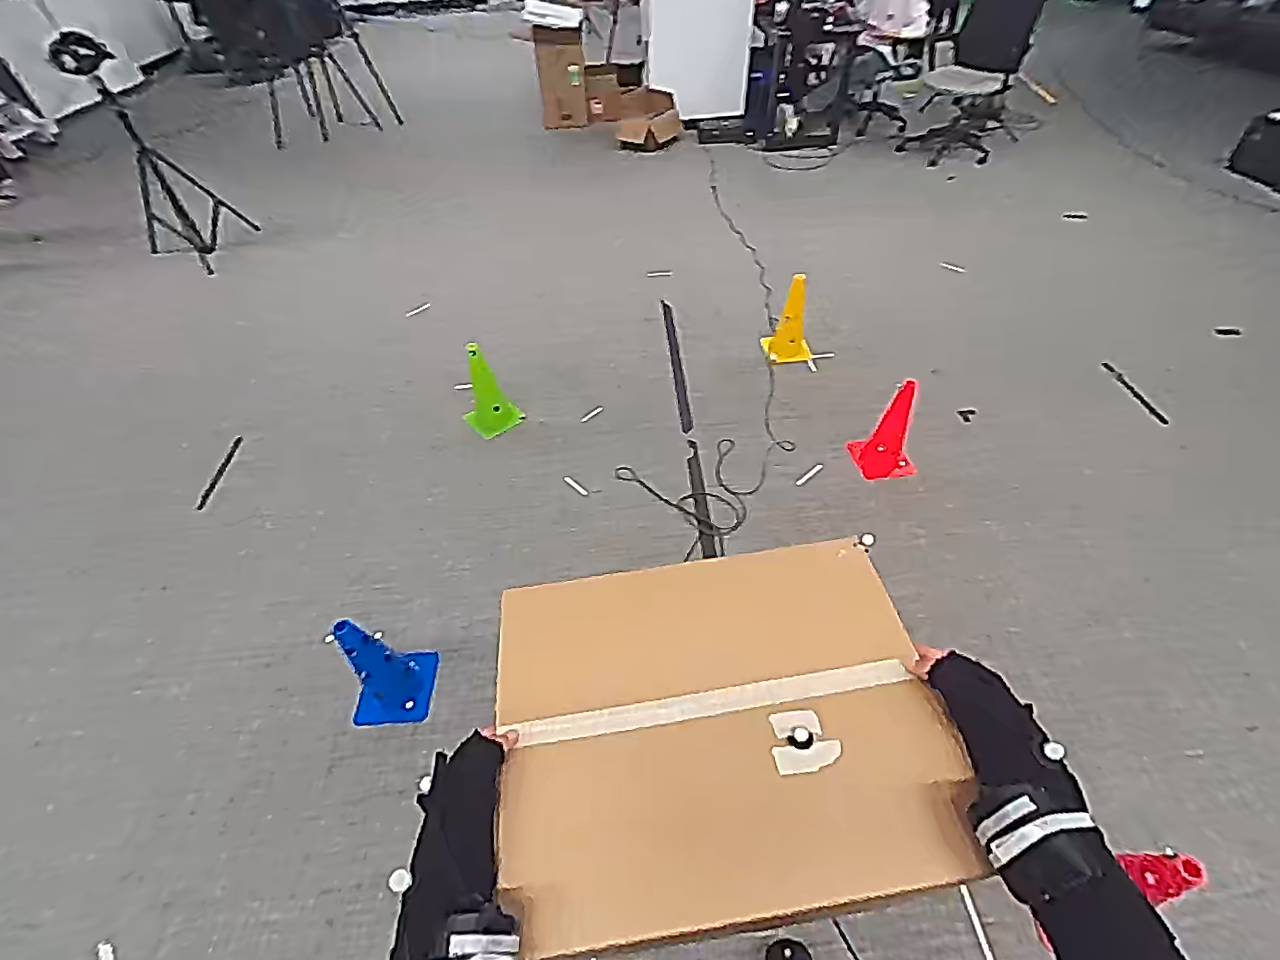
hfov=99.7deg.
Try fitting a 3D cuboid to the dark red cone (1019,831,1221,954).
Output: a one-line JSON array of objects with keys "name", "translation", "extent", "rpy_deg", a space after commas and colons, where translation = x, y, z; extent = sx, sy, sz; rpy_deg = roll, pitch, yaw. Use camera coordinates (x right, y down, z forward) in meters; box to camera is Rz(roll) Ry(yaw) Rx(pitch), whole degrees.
[{"name": "dark red cone", "translation": [0.912, 0.742, 1.004], "extent": [0.201, 0.394, 0.202], "rpy_deg": [-1, 47, 3]}]

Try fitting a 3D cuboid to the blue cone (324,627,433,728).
[{"name": "blue cone", "translation": [-0.692, 0.478, 1.387], "extent": [0.192, 0.380, 0.193], "rpy_deg": [-3, 47, 2]}]

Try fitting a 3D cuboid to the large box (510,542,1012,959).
[{"name": "large box", "translation": [0.084, 0.310, 0.619], "extent": [0.408, 0.320, 0.320], "rpy_deg": [-8, 48, -3]}]

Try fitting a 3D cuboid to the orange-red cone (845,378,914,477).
[{"name": "orange-red cone", "translation": [0.882, -0.203, 1.897], "extent": [0.198, 0.360, 0.199], "rpy_deg": [-6, 46, -4]}]

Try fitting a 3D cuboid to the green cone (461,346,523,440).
[{"name": "green cone", "translation": [-0.629, -0.371, 2.132], "extent": [0.202, 0.368, 0.200], "rpy_deg": [-36, 55, -24]}]
